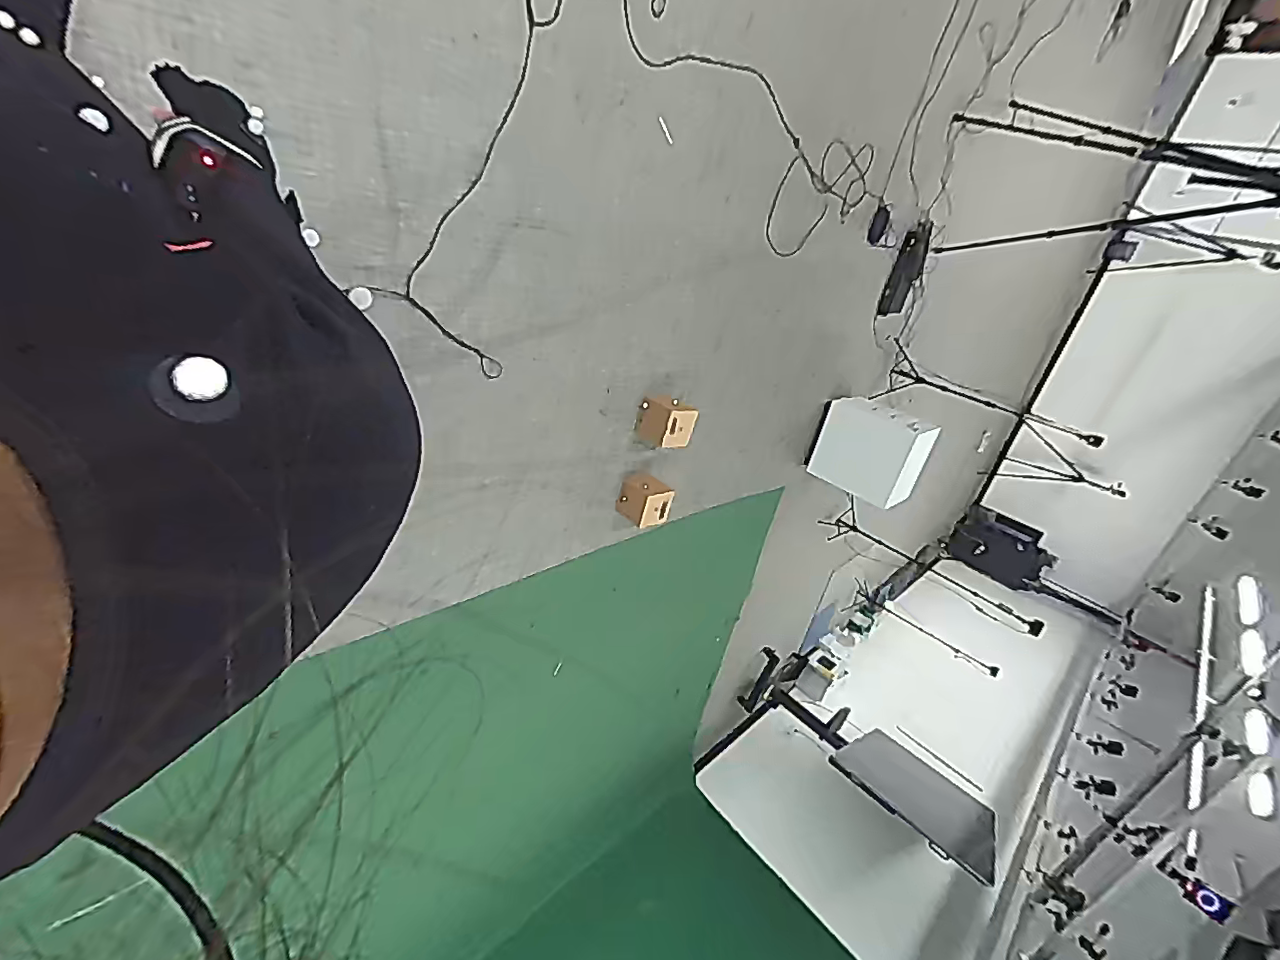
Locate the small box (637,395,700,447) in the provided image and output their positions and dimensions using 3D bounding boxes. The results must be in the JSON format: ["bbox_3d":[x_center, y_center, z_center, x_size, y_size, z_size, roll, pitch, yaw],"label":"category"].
[{"bbox_3d":[0.115,-0.251,2.274,0.179,0.176,0.168,-8,123,-46],"label":"small box"}]
